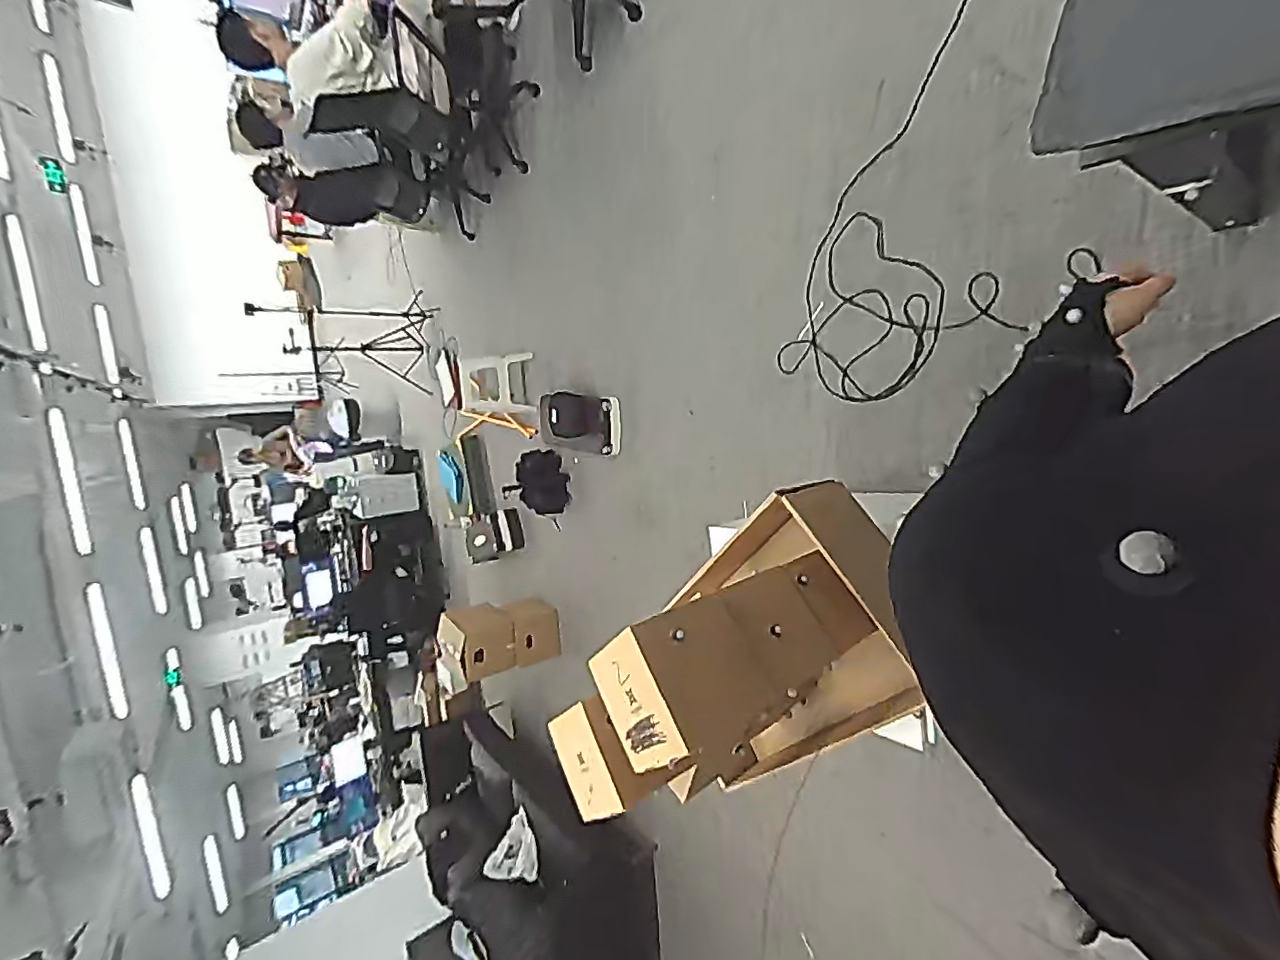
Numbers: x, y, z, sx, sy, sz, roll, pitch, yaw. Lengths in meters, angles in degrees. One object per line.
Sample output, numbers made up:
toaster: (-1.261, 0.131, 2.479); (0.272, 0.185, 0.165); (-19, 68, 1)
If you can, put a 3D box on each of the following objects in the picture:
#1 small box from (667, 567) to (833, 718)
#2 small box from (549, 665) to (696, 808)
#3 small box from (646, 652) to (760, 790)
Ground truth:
small box: (0.182, 0.264, 0.913); (0.179, 0.176, 0.168); (59, 141, 23)
small box: (-0.034, 0.452, 0.974); (0.168, 0.176, 0.179); (-50, 61, 46)
small box: (0.103, 0.455, 1.069); (0.179, 0.176, 0.168); (35, 125, 40)
